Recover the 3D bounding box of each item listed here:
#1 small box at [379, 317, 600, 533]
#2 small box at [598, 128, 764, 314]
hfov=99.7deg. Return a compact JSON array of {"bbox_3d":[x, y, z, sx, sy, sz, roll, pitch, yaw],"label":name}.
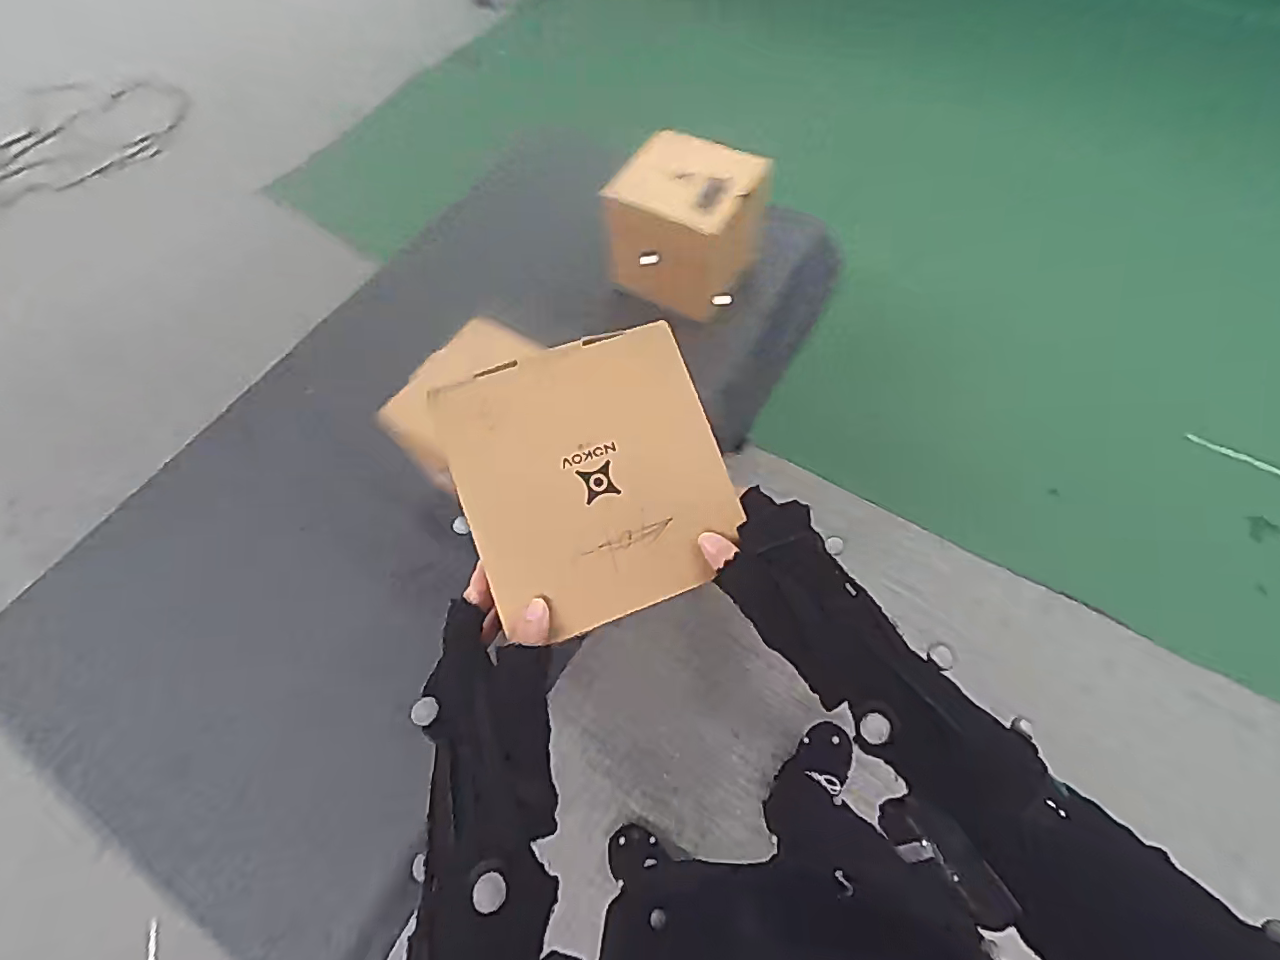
[{"bbox_3d":[-0.168,-0.059,0.665,0.179,0.176,0.168,28,68,16],"label":"small box"},{"bbox_3d":[0.061,-0.379,0.813,0.179,0.176,0.168,28,68,16],"label":"small box"}]
